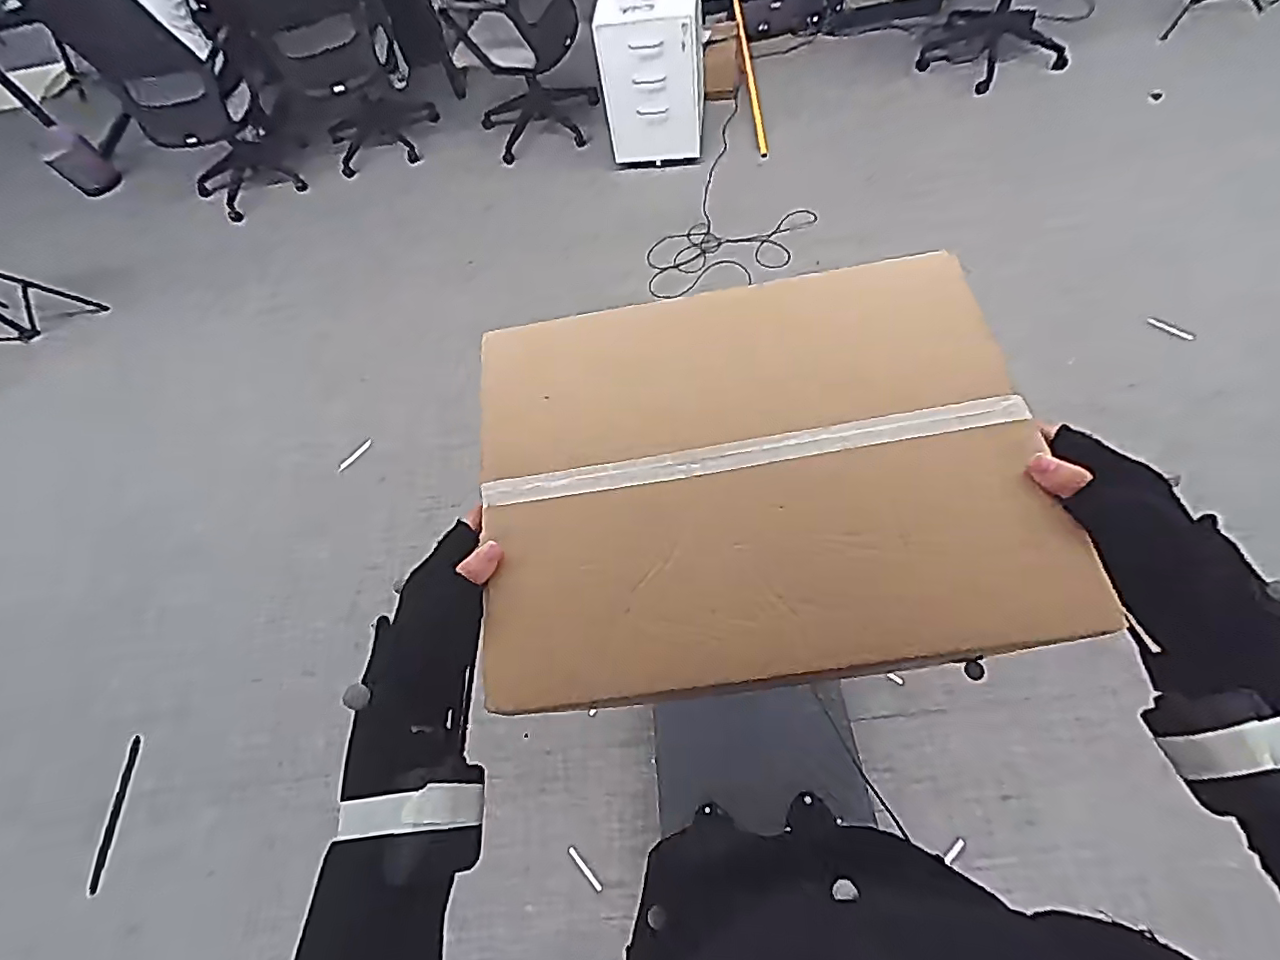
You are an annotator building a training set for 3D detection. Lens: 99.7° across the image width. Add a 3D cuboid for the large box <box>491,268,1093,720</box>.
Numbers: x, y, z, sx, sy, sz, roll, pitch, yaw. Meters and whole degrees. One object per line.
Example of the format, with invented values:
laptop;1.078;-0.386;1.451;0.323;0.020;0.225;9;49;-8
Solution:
large box;0.101;0.045;0.554;0.408;0.320;0.320;-10;66;4
